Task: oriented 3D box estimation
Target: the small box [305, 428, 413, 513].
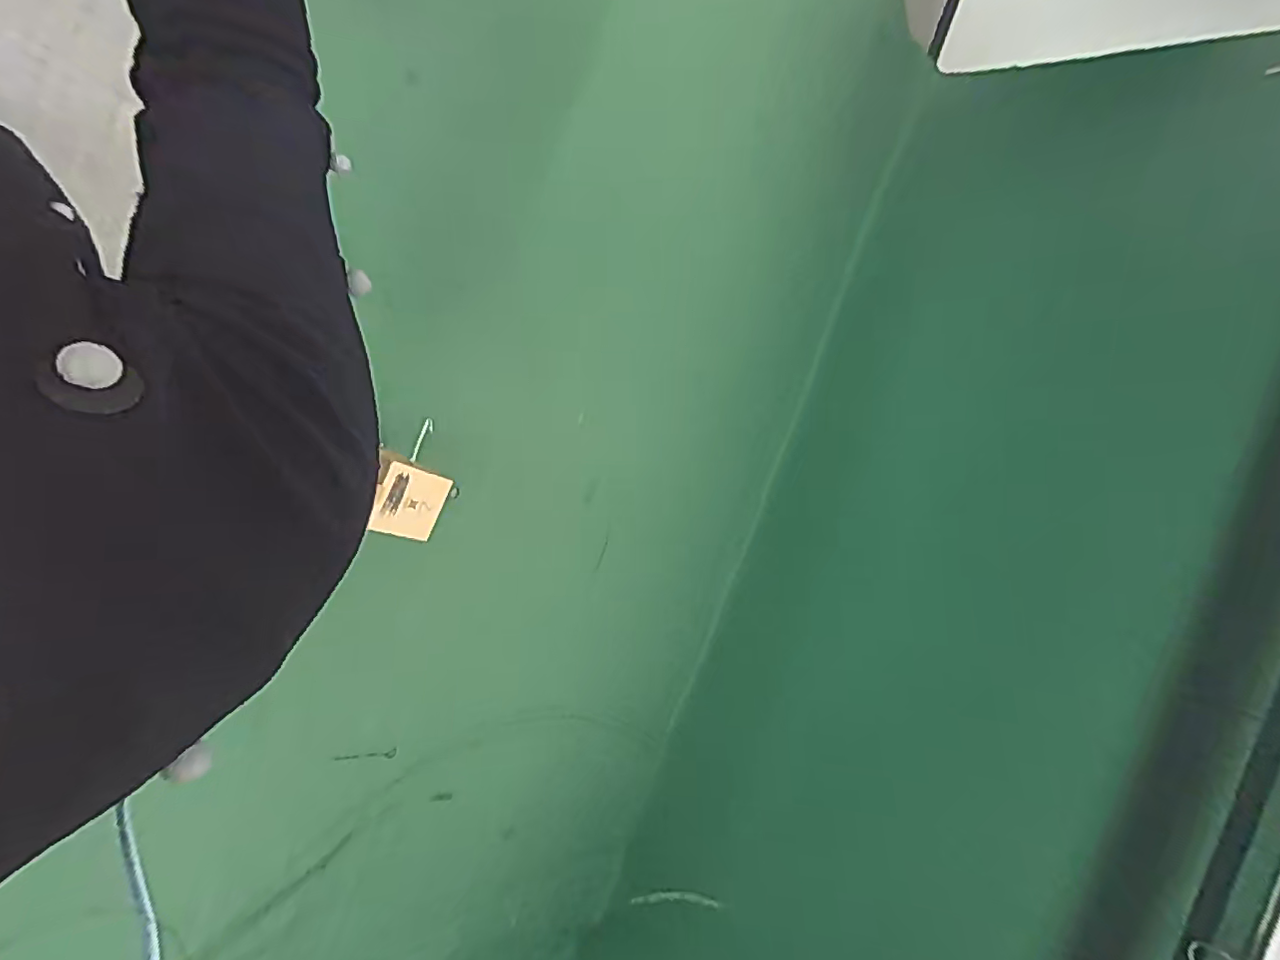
[{"bbox_3d":[-0.743,-0.029,1.422,0.179,0.176,0.168,23,88,-53],"label":"small box"}]
